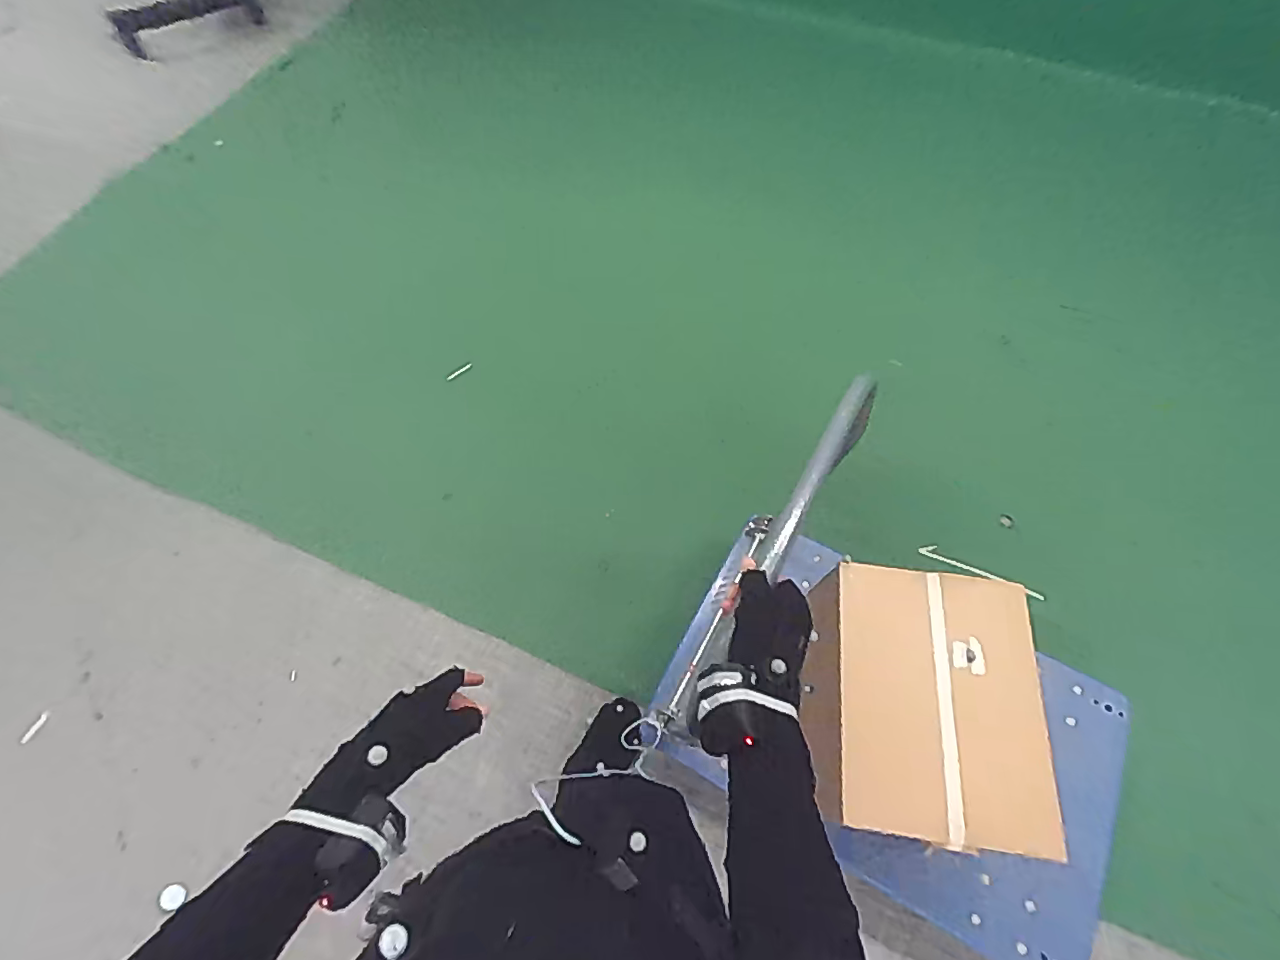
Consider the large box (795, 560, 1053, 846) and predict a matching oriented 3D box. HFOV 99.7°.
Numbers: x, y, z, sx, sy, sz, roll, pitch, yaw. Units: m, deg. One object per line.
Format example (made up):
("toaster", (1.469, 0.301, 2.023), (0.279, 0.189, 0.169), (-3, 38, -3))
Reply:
("large box", (0.471, 0.402, 1.001), (0.320, 0.320, 0.408), (7, 63, 5))
